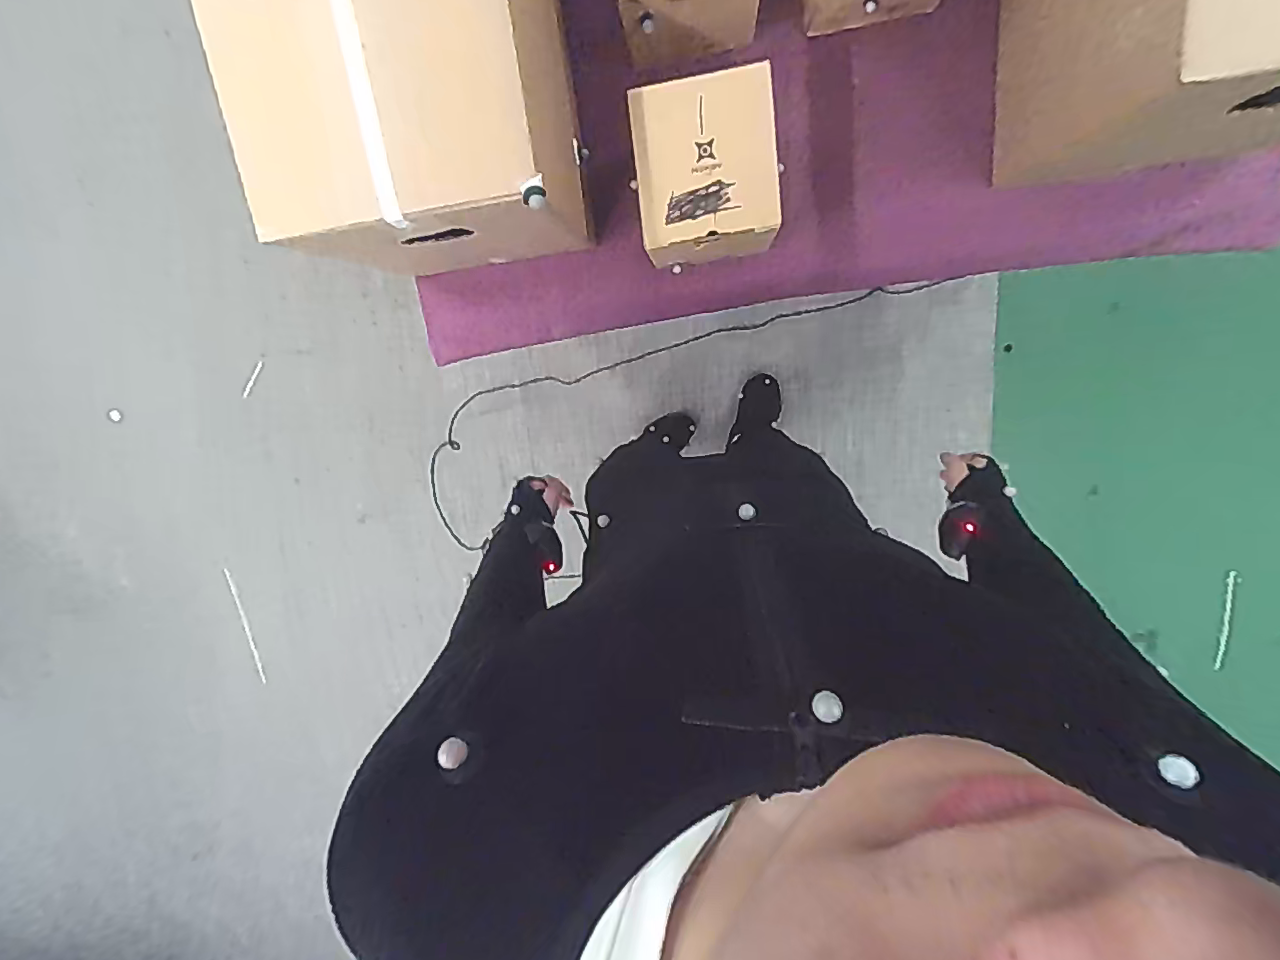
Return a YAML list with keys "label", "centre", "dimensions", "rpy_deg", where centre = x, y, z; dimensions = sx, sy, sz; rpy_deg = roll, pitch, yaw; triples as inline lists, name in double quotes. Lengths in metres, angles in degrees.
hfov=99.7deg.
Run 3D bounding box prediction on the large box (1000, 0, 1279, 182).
- label: "large box"
  centre: [0.596, -0.573, 0.532]
  dimensions: [0.320, 0.320, 0.408]
  rpy_deg: [-5, 104, 9]
